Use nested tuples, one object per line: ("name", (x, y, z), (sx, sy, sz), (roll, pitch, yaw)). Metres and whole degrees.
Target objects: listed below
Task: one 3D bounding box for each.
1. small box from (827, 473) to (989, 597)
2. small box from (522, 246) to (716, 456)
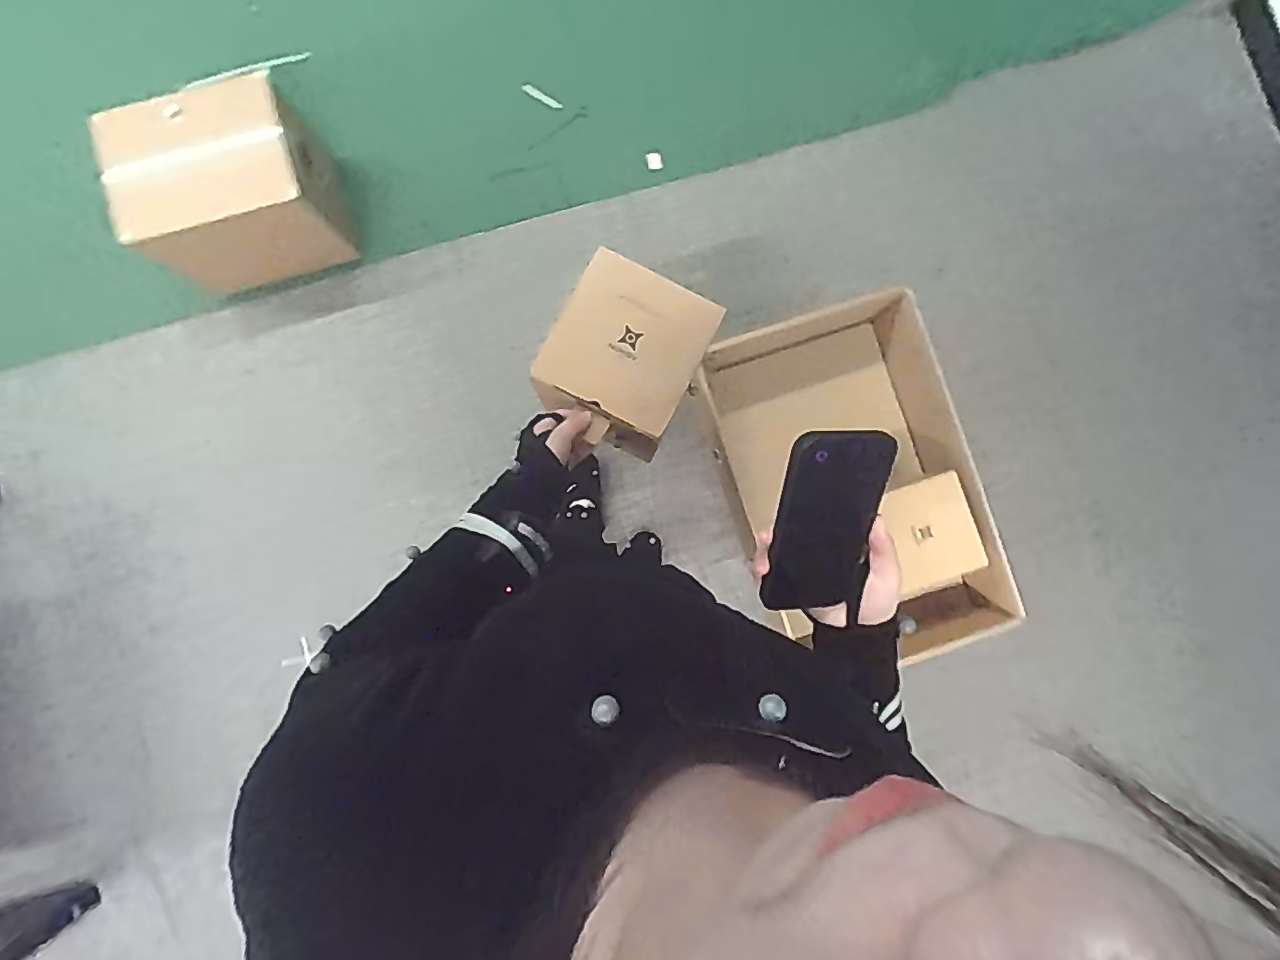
("small box", (0.463, 0.092, 0.959), (0.179, 0.176, 0.168), (-18, 87, -1))
("small box", (-0.025, -0.146, 0.684), (0.168, 0.176, 0.179), (27, 83, 0))
